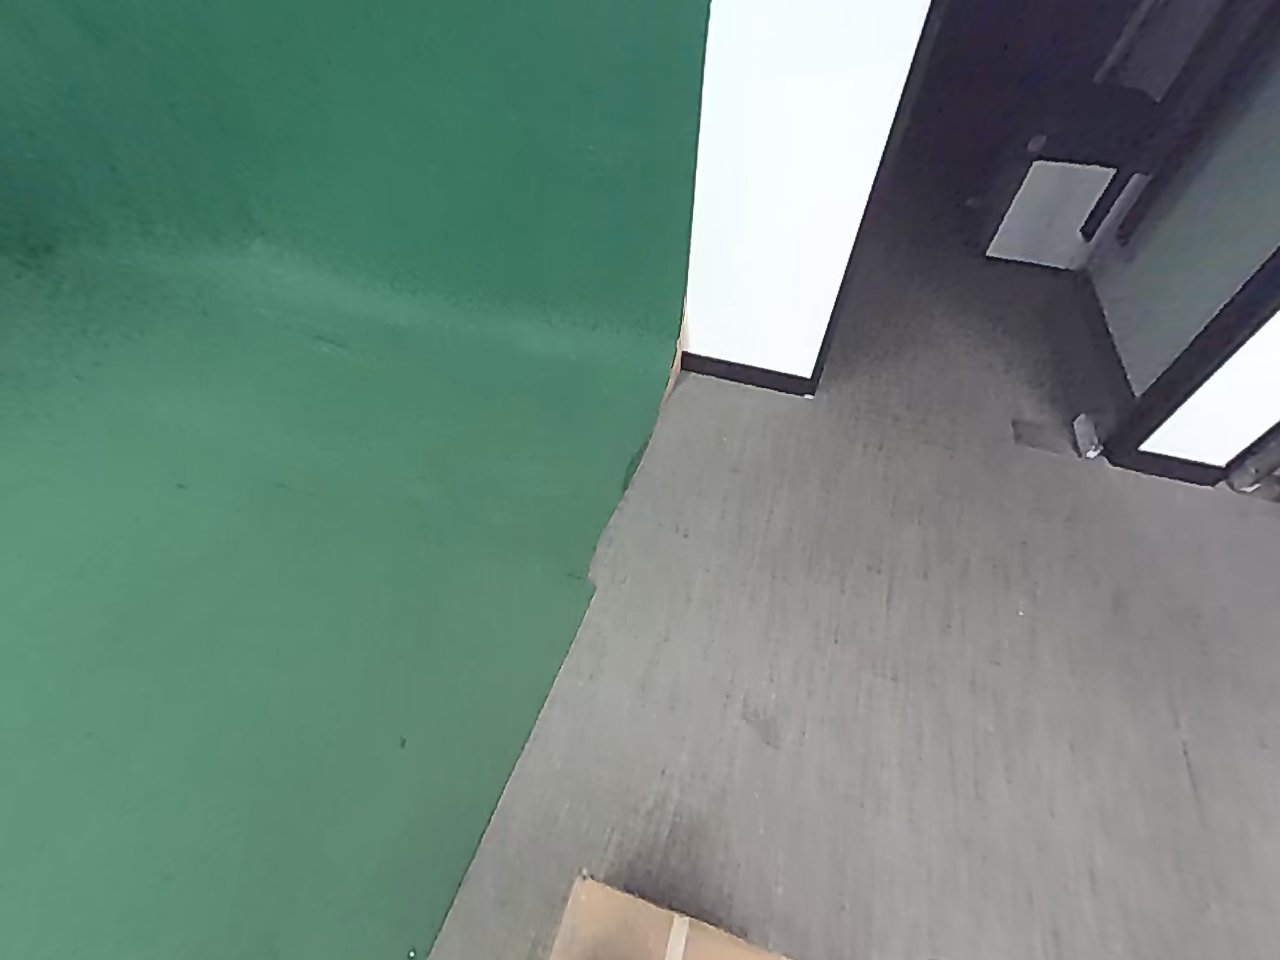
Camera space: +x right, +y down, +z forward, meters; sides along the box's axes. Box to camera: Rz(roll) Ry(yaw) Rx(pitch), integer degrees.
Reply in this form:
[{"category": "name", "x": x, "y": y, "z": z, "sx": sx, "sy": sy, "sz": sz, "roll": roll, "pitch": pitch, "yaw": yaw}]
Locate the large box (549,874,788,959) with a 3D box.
[{"category": "large box", "x": -0.002, "y": 0.840, "z": 0.729, "sx": 0.320, "sy": 0.320, "sz": 0.408, "roll": 14, "pitch": 50, "yaw": 12}]
